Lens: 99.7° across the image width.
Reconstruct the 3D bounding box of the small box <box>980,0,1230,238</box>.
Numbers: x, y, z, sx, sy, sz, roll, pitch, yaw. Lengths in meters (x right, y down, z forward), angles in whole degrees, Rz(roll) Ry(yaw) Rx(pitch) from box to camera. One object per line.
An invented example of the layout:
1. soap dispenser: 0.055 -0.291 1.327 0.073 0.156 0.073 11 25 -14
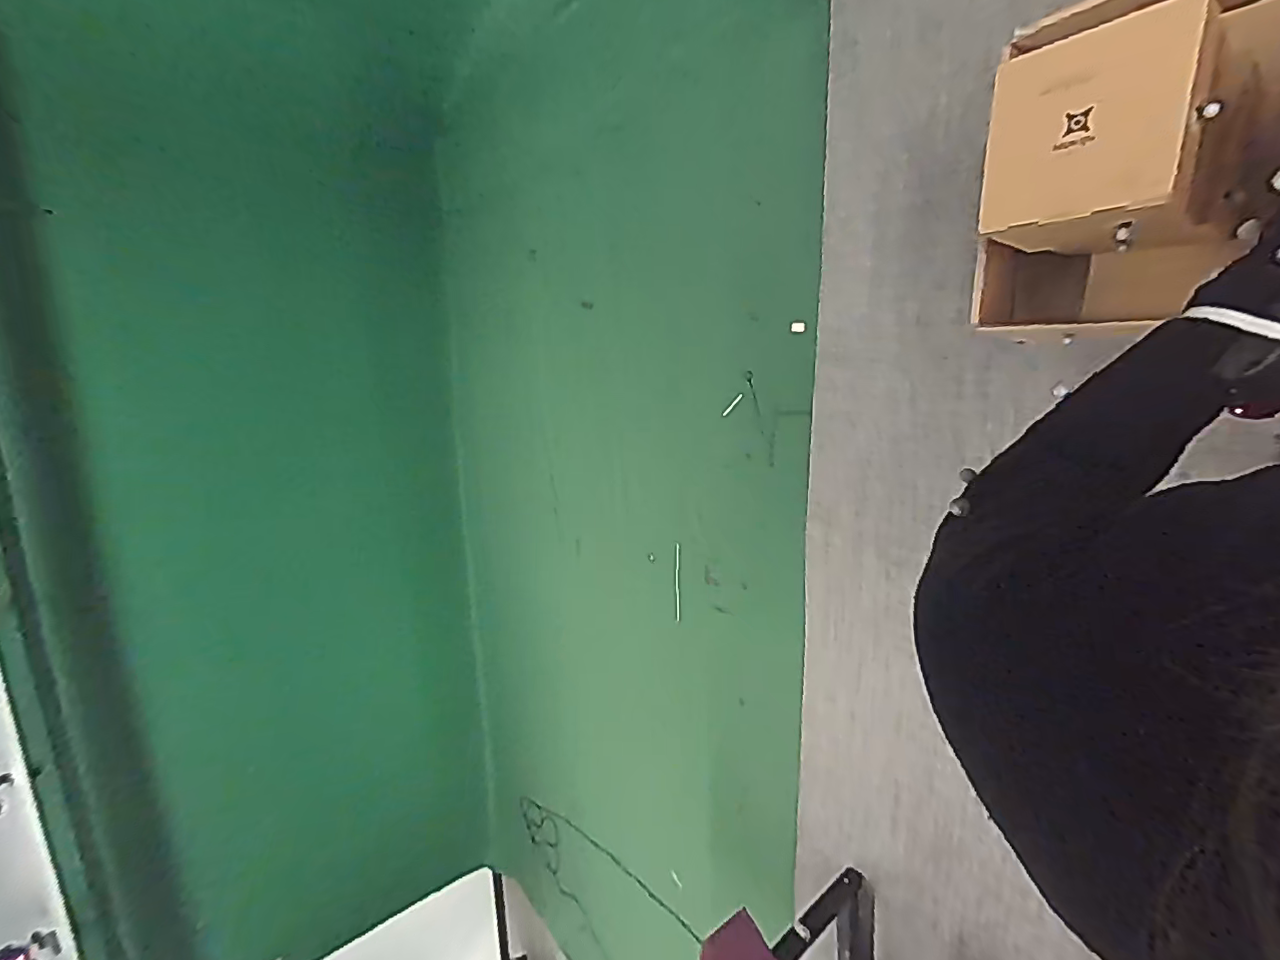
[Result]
1. small box: 0.511 -0.377 0.599 0.168 0.176 0.179 16 110 50
